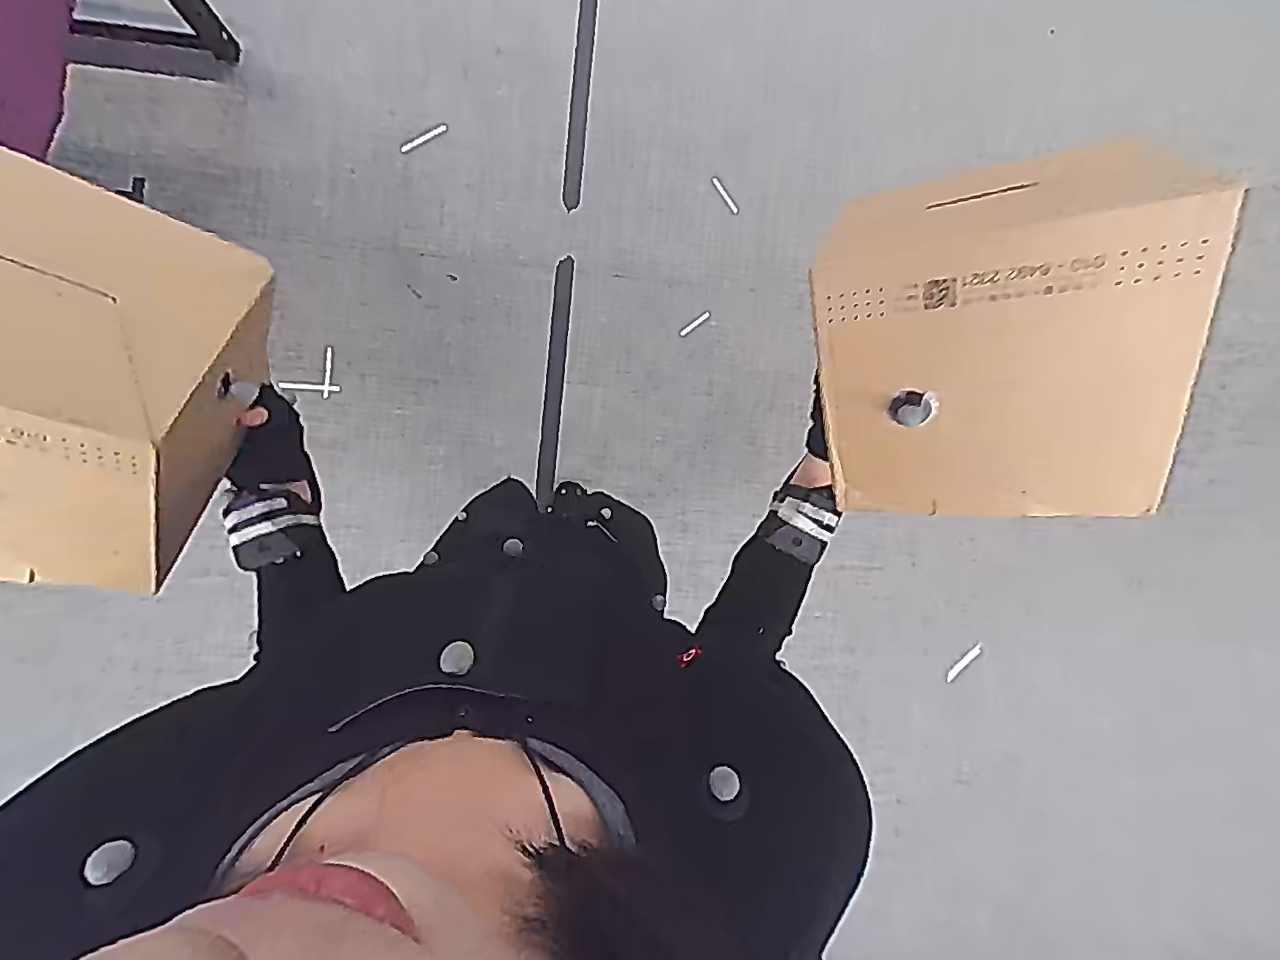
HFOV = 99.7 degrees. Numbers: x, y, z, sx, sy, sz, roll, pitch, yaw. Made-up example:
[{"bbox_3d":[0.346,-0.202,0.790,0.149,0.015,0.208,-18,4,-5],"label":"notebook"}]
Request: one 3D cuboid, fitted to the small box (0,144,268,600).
[{"bbox_3d":[-0.346,-0.060,0.314,0.168,0.176,0.179,21,41,-27],"label":"small box"}]
